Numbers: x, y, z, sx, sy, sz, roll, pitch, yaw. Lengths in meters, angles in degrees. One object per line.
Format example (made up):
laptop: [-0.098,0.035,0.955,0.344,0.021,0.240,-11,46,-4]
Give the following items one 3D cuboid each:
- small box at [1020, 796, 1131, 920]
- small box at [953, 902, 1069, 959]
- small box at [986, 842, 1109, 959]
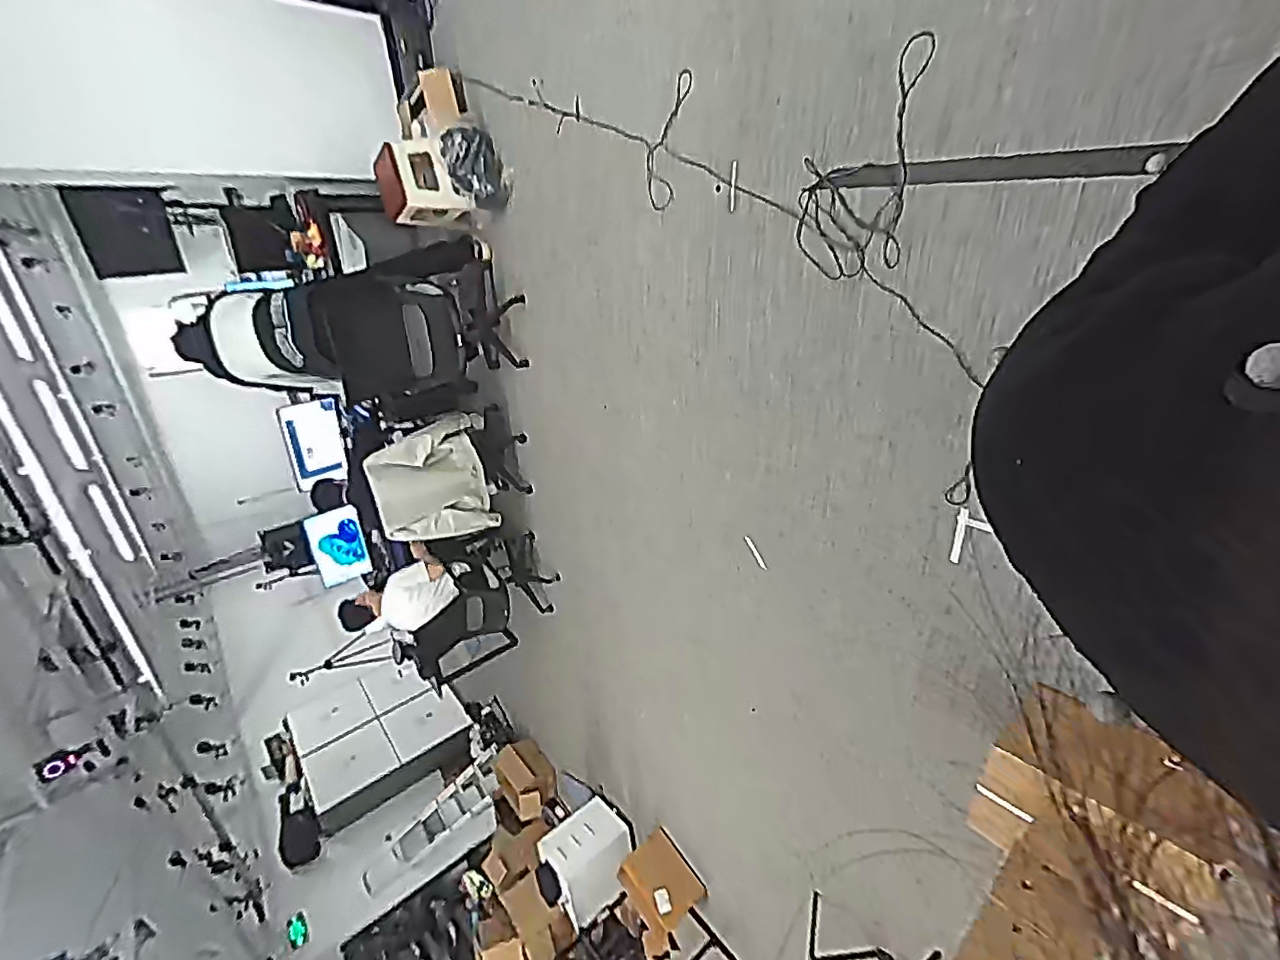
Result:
small box: [0.936,0.851,1.186,0.168,0.176,0.179,23,124,45]
small box: [0.687,0.944,0.996,0.168,0.176,0.179,17,120,49]
small box: [0.810,0.892,1.093,0.168,0.176,0.179,22,125,47]
